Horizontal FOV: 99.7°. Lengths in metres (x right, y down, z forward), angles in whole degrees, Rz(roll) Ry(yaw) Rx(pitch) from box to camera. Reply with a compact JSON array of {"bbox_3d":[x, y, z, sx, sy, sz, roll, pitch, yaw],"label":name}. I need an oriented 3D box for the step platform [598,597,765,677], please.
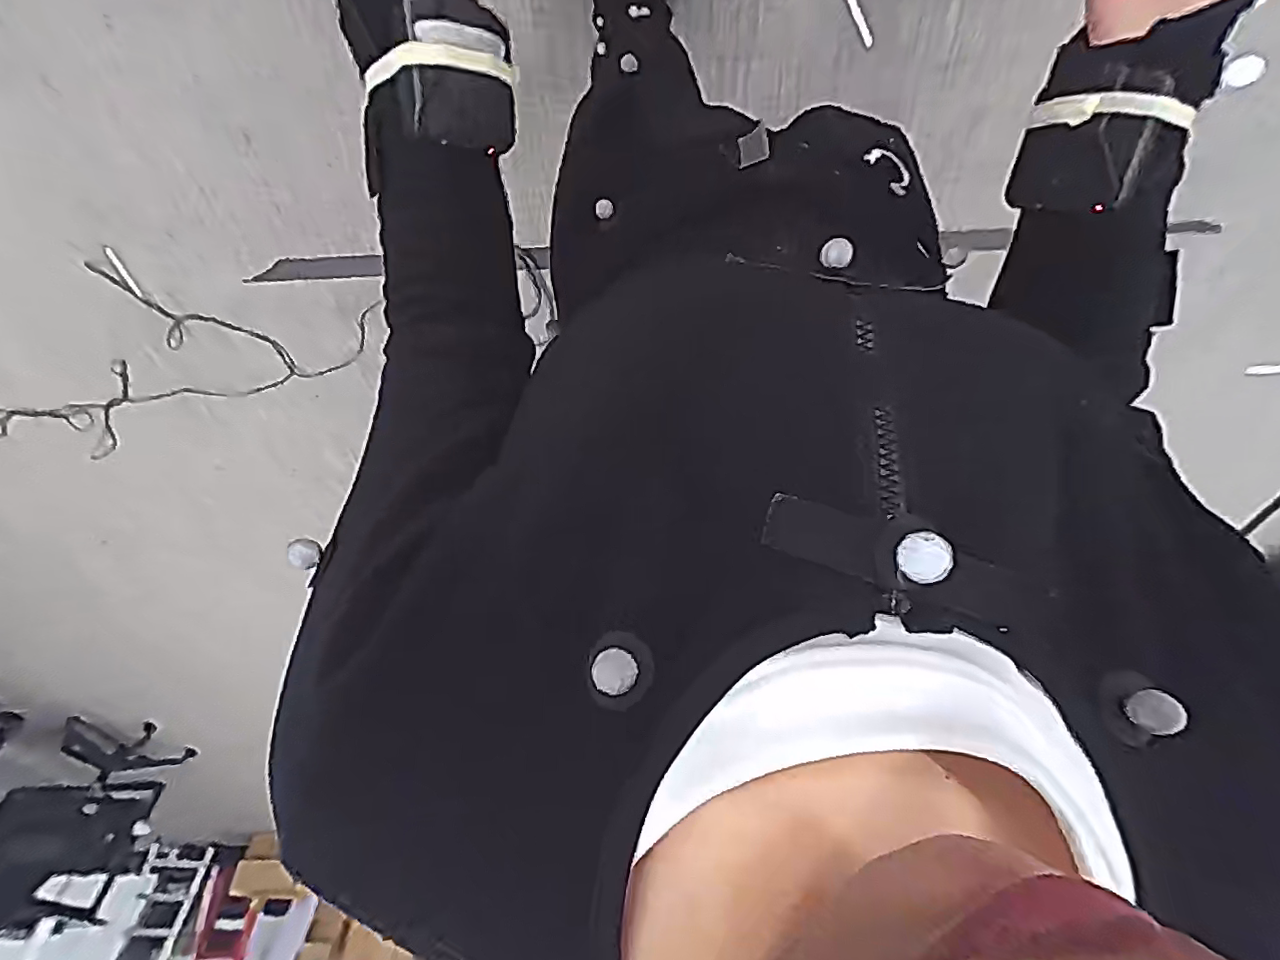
[{"bbox_3d":[0.169,0.655,2.242,0.684,0.204,0.286,-4,135,1],"label":"step platform"}]
